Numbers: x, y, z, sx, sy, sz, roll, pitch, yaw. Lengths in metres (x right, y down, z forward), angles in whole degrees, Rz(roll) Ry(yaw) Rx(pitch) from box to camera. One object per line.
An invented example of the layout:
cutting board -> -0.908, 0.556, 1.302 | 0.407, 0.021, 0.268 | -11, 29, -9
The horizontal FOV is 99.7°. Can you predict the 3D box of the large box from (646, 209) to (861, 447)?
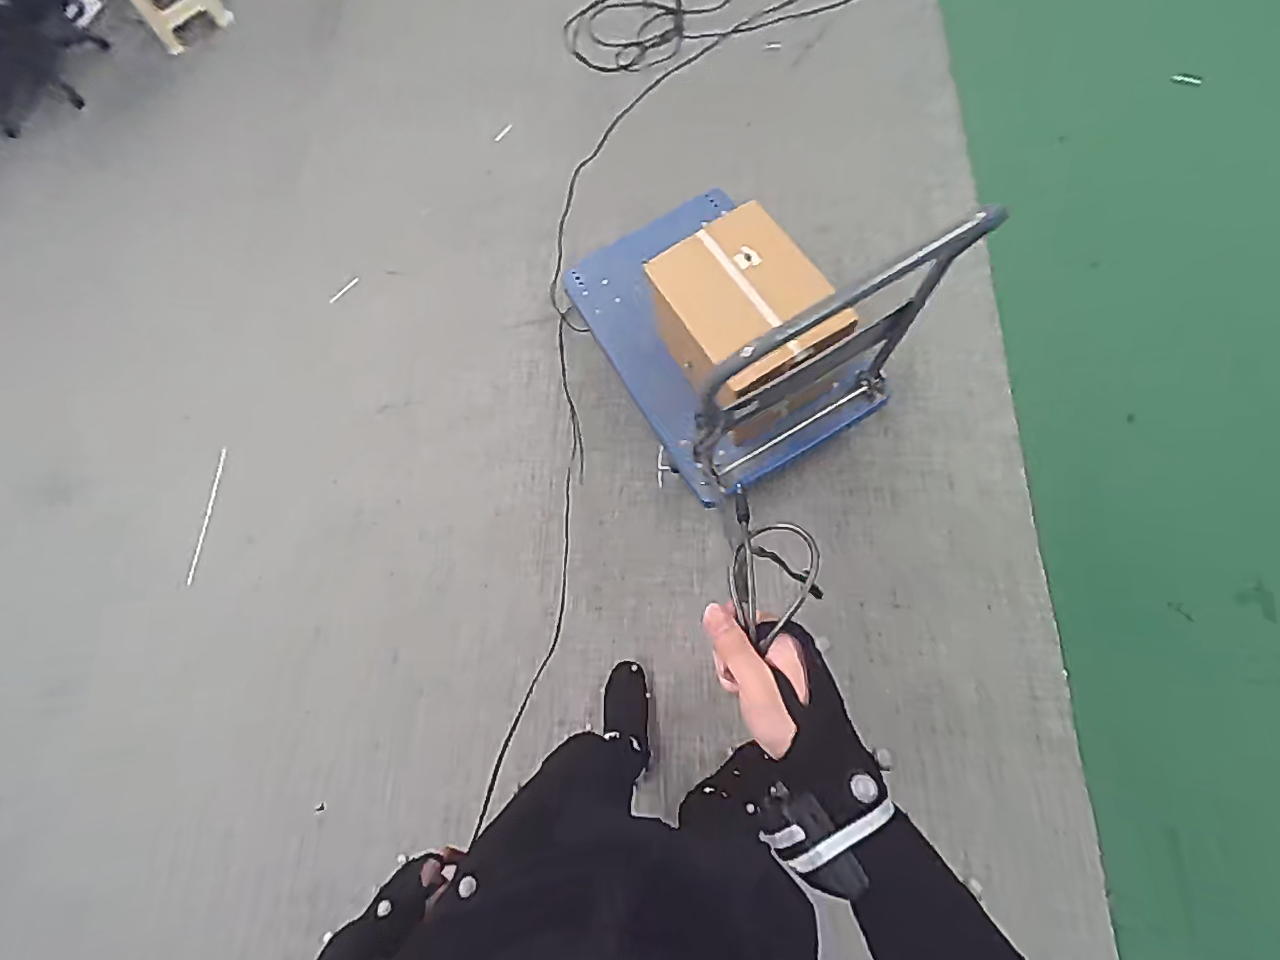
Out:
large box -> 0.268, -0.359, 1.338 | 0.320, 0.320, 0.408 | -31, 69, -2
